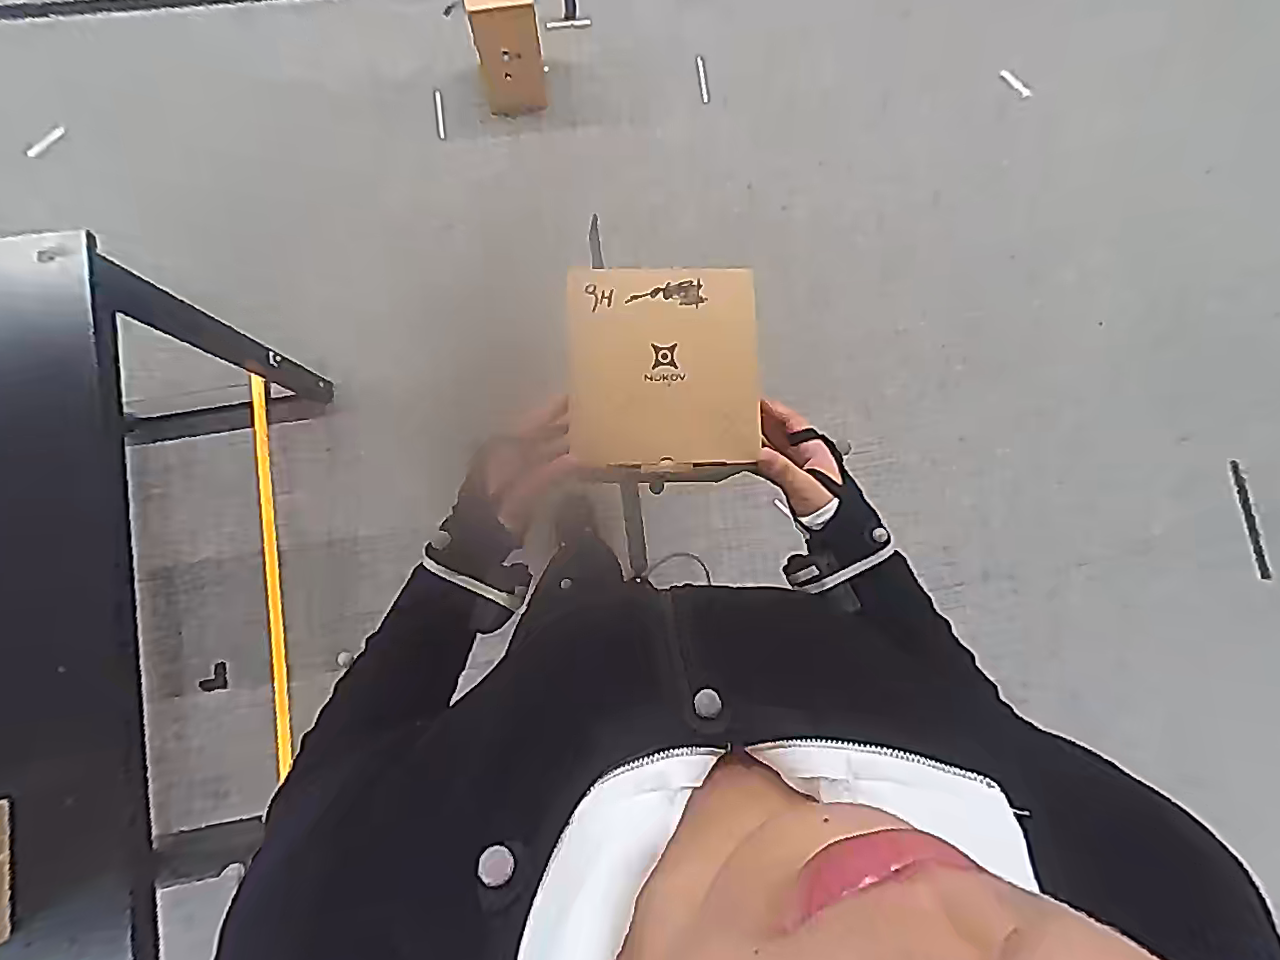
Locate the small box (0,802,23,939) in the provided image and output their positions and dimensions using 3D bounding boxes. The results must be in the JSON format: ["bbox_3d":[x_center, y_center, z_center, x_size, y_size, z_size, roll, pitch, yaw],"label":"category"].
[{"bbox_3d":[-0.869,0.491,0.602,0.179,0.176,0.168,-7,84,-4],"label":"small box"}]

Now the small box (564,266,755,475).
[{"bbox_3d":[0.014,-0.096,0.546,0.168,0.176,0.179,-2,86,-3],"label":"small box"}]

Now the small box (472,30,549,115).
[{"bbox_3d":[-0.366,-1.183,1.546,0.179,0.176,0.168,-10,85,-5],"label":"small box"}]

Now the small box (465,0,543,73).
[{"bbox_3d":[-0.353,-1.199,1.385,0.168,0.176,0.179,-12,86,-3],"label":"small box"}]
